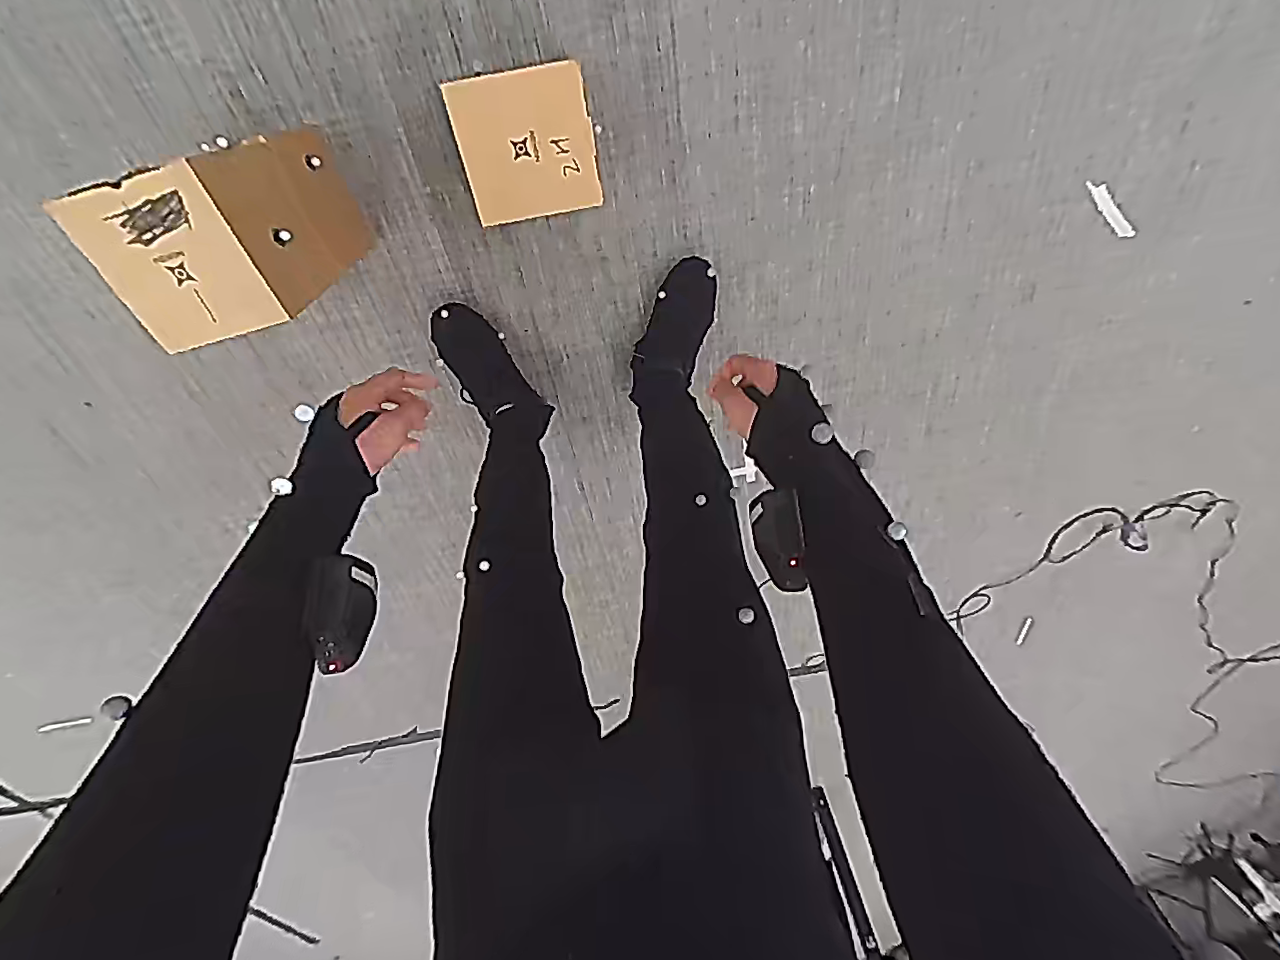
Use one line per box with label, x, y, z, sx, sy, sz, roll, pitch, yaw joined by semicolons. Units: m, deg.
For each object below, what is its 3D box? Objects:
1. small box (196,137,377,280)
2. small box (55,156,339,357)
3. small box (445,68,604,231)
small box;-0.522;-0.383;0.792;0.168;0.176;0.179;-15;127;5
small box;-0.514;-0.281;0.664;0.168;0.176;0.179;-13;128;4
small box;-0.152;-0.471;0.770;0.179;0.176;0.168;-10;127;0
